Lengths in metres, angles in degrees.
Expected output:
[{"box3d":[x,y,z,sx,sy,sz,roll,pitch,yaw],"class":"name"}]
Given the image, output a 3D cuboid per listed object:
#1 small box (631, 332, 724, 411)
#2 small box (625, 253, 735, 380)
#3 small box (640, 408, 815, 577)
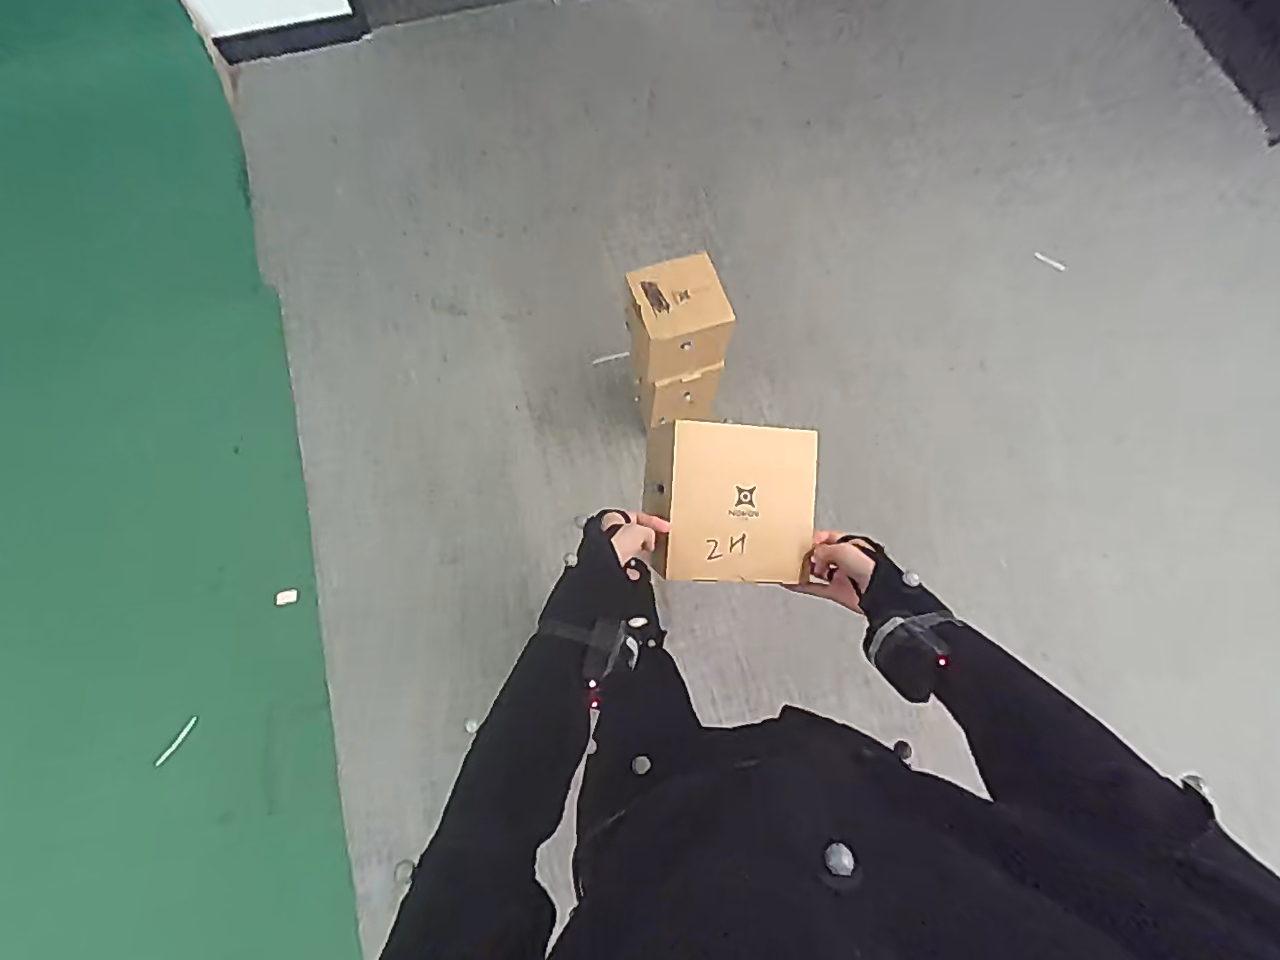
[{"box3d":[0.082,-0.278,1.275,0.168,0.176,0.179,-18,75,-7],"class":"small box"},{"box3d":[0.076,-0.329,1.118,0.179,0.176,0.168,-17,74,-7],"class":"small box"},{"box3d":[0.096,0.014,0.665,0.168,0.176,0.179,4,91,-9],"class":"small box"}]
